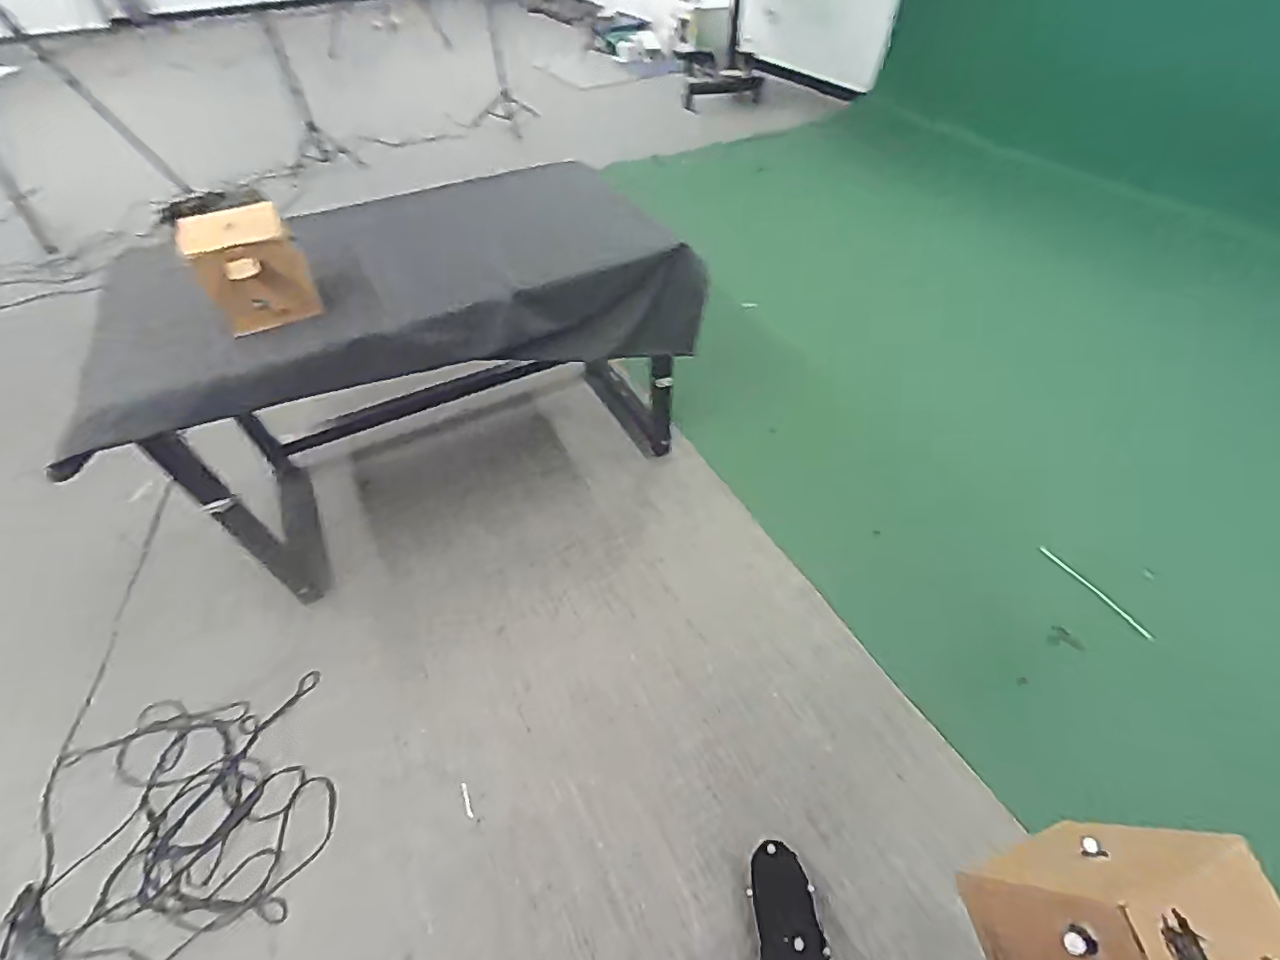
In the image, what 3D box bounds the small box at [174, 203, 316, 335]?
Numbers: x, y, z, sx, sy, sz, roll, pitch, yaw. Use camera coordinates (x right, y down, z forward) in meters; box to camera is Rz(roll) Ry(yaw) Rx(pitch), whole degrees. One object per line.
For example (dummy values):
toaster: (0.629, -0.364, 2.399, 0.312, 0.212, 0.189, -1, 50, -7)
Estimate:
small box: (-0.767, -0.413, 1.061, 0.168, 0.176, 0.179, -23, 53, -18)
